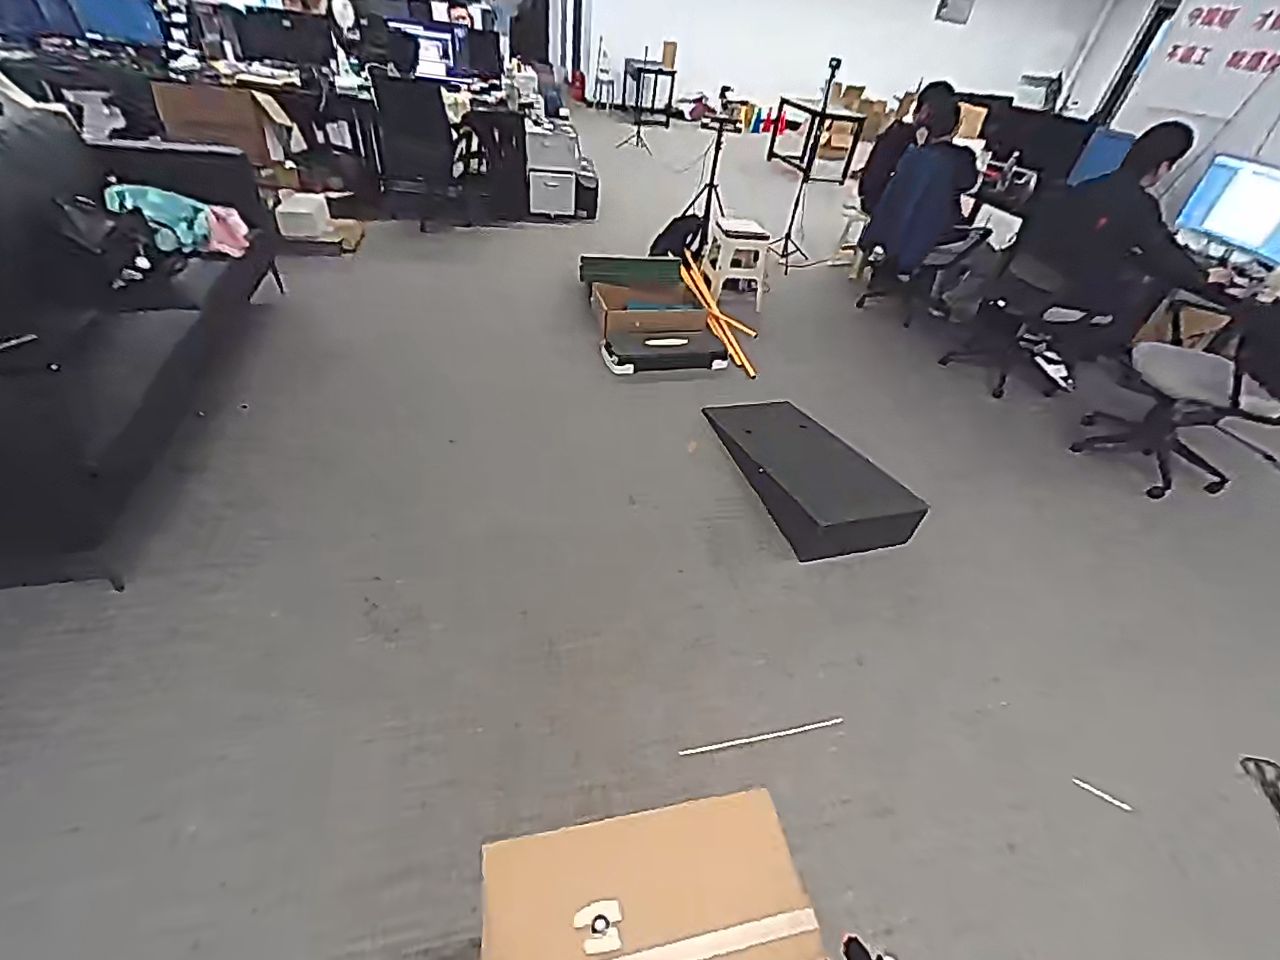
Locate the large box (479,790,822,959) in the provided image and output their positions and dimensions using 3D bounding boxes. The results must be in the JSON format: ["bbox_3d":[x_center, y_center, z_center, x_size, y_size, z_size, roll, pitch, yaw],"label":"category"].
[{"bbox_3d":[0.006,0.670,0.737,0.408,0.320,0.320,-4,46,-12],"label":"large box"}]
